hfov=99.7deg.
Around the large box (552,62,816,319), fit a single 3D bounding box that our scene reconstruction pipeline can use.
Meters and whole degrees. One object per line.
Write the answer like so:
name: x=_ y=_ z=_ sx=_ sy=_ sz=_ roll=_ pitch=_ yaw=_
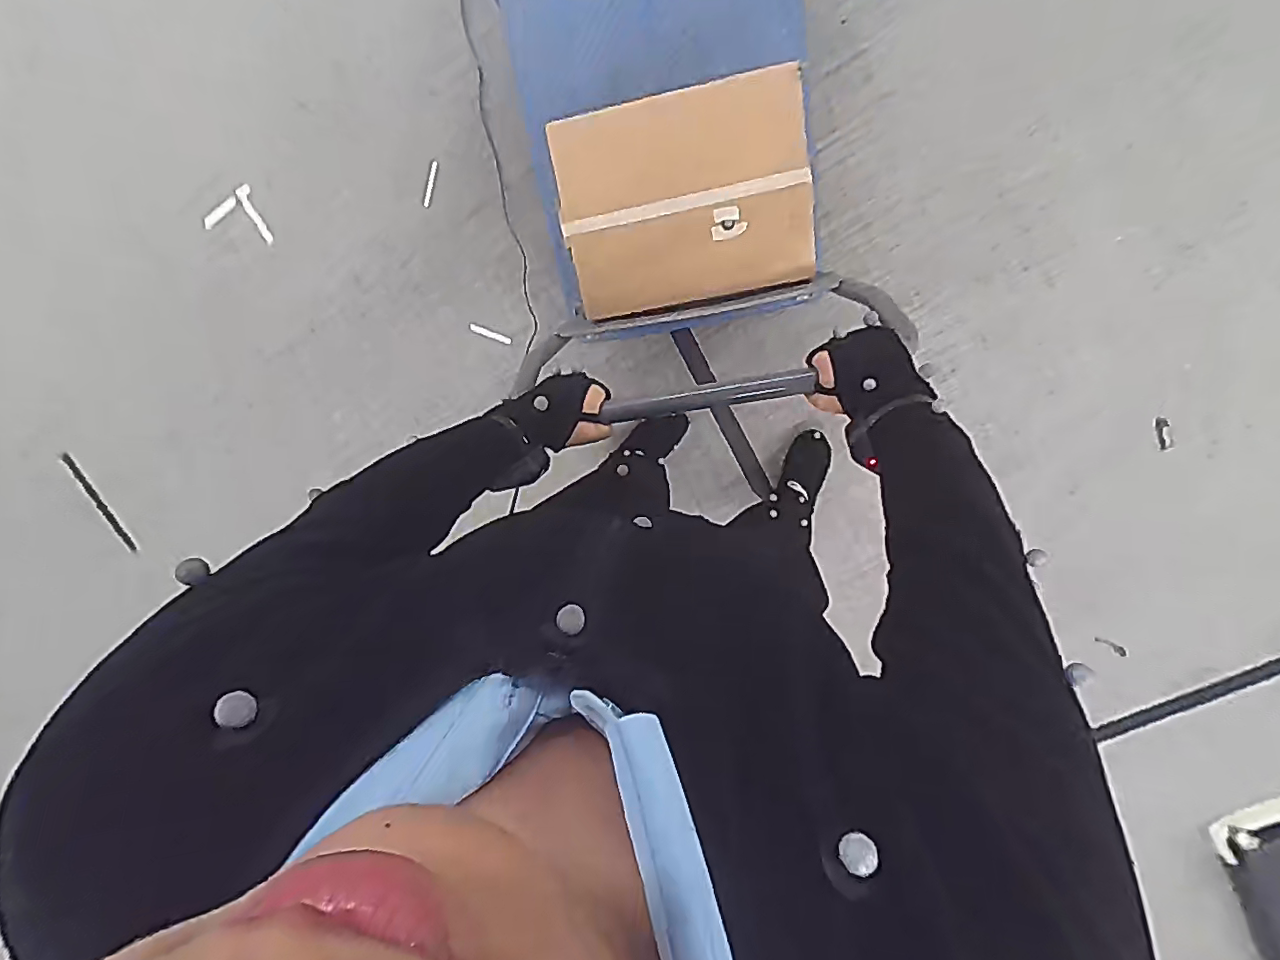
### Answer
large box: x=0.088 y=-0.517 z=1.042 sx=0.408 sy=0.320 sz=0.320 roll=-9 pitch=110 yaw=8
